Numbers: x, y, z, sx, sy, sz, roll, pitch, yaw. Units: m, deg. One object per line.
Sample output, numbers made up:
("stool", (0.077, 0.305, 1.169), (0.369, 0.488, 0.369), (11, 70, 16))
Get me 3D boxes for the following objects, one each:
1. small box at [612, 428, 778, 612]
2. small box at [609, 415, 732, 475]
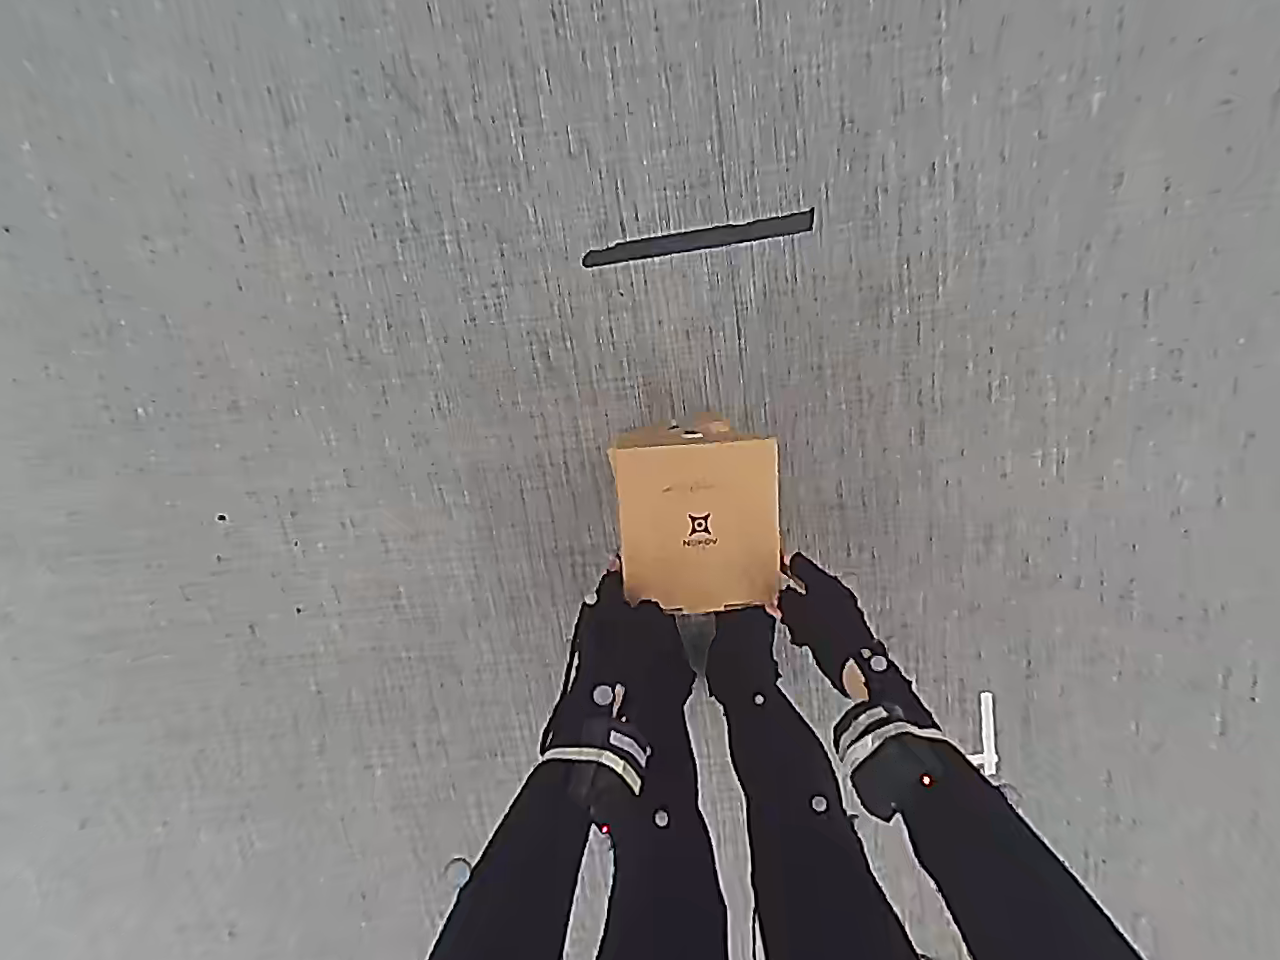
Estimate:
("small box", (0.055, 0.035, 0.627), (0.168, 0.176, 0.179), (-4, 98, -3))
("small box", (0.060, 0.000, 0.838), (0.179, 0.176, 0.168), (-13, 100, 6))
